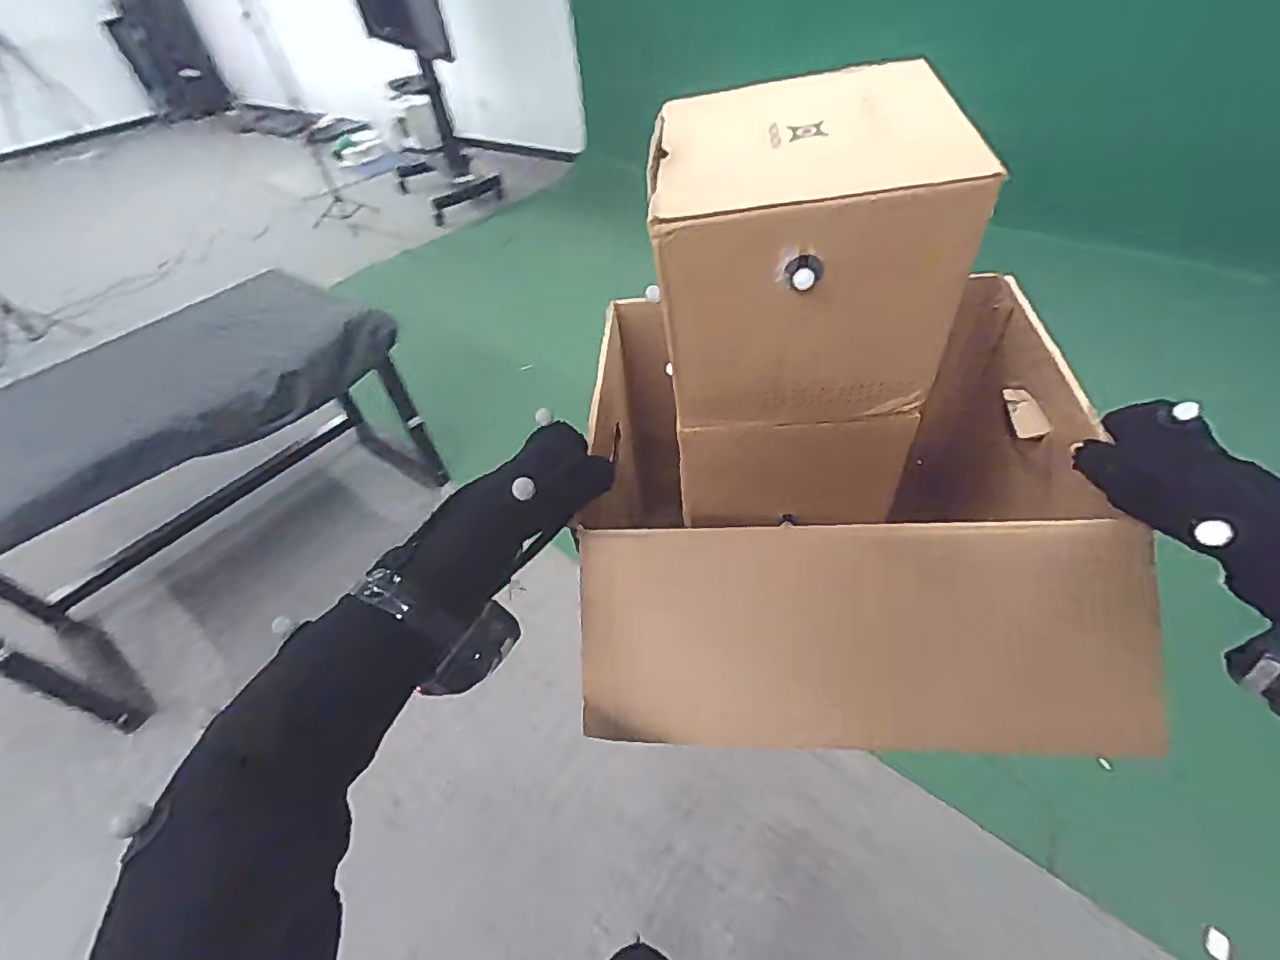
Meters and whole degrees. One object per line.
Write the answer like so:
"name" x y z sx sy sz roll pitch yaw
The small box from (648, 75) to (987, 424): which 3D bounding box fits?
"small box" 0.106 -0.155 0.393 0.179 0.176 0.168 -4 53 8
